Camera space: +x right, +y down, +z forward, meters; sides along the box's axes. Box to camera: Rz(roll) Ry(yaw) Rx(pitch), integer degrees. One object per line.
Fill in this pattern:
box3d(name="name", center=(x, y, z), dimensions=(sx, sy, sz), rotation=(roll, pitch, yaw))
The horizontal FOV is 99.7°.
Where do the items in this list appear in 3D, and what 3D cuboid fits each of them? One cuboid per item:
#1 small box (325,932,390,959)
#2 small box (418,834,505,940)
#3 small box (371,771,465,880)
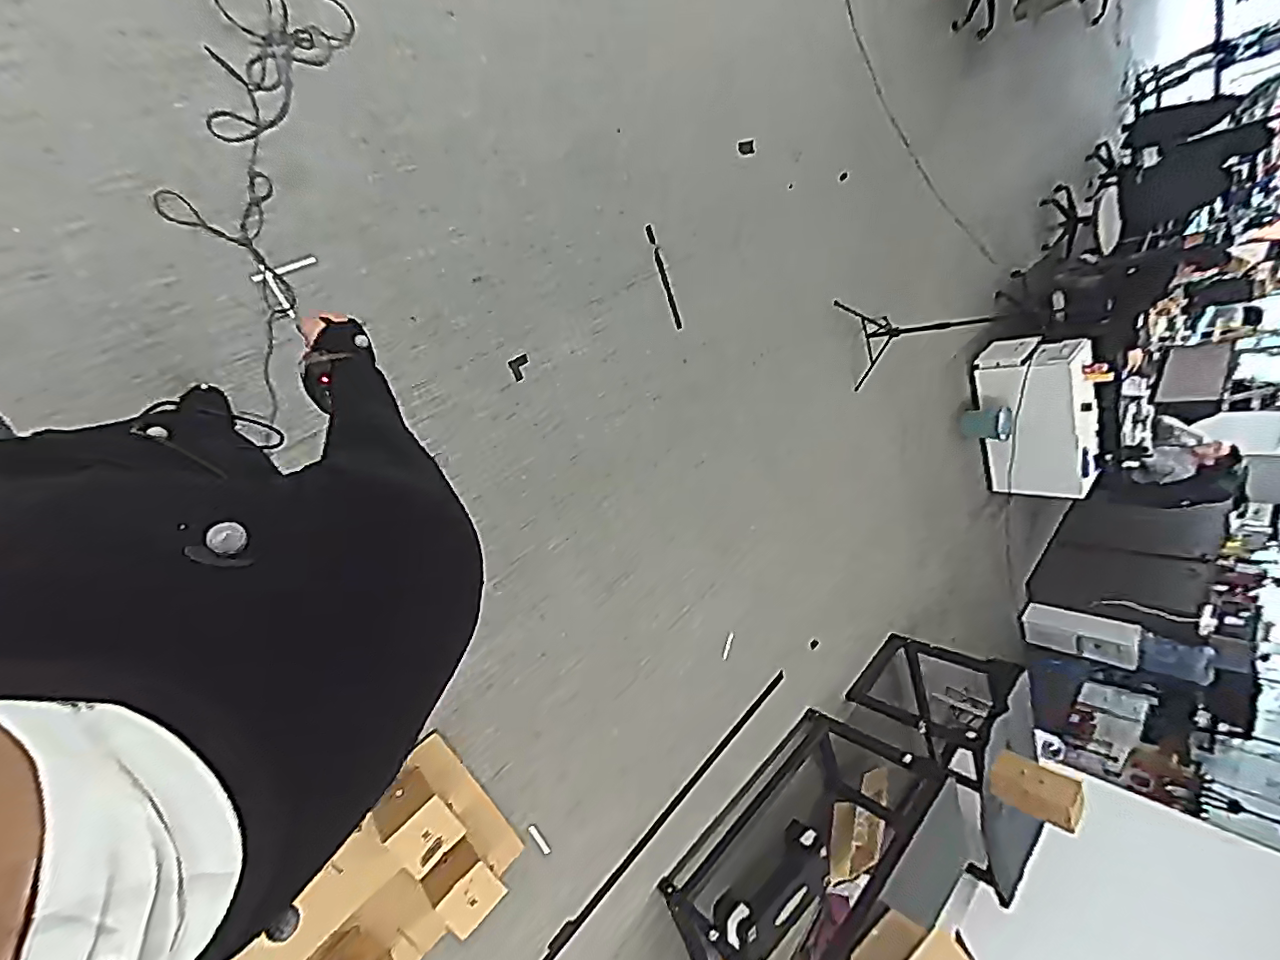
box3d(name="small box", center=(-0.795, 1.422, 1.501), dimensions=(0.168, 0.176, 0.179), rotation=(-41, 117, -28))
box3d(name="small box", center=(-0.553, 1.244, 1.668), dimensions=(0.168, 0.176, 0.179), rotation=(-38, 116, -30))
box3d(name="small box", center=(-0.648, 0.993, 1.571), dimensions=(0.168, 0.176, 0.179), rotation=(-39, 115, -30))
